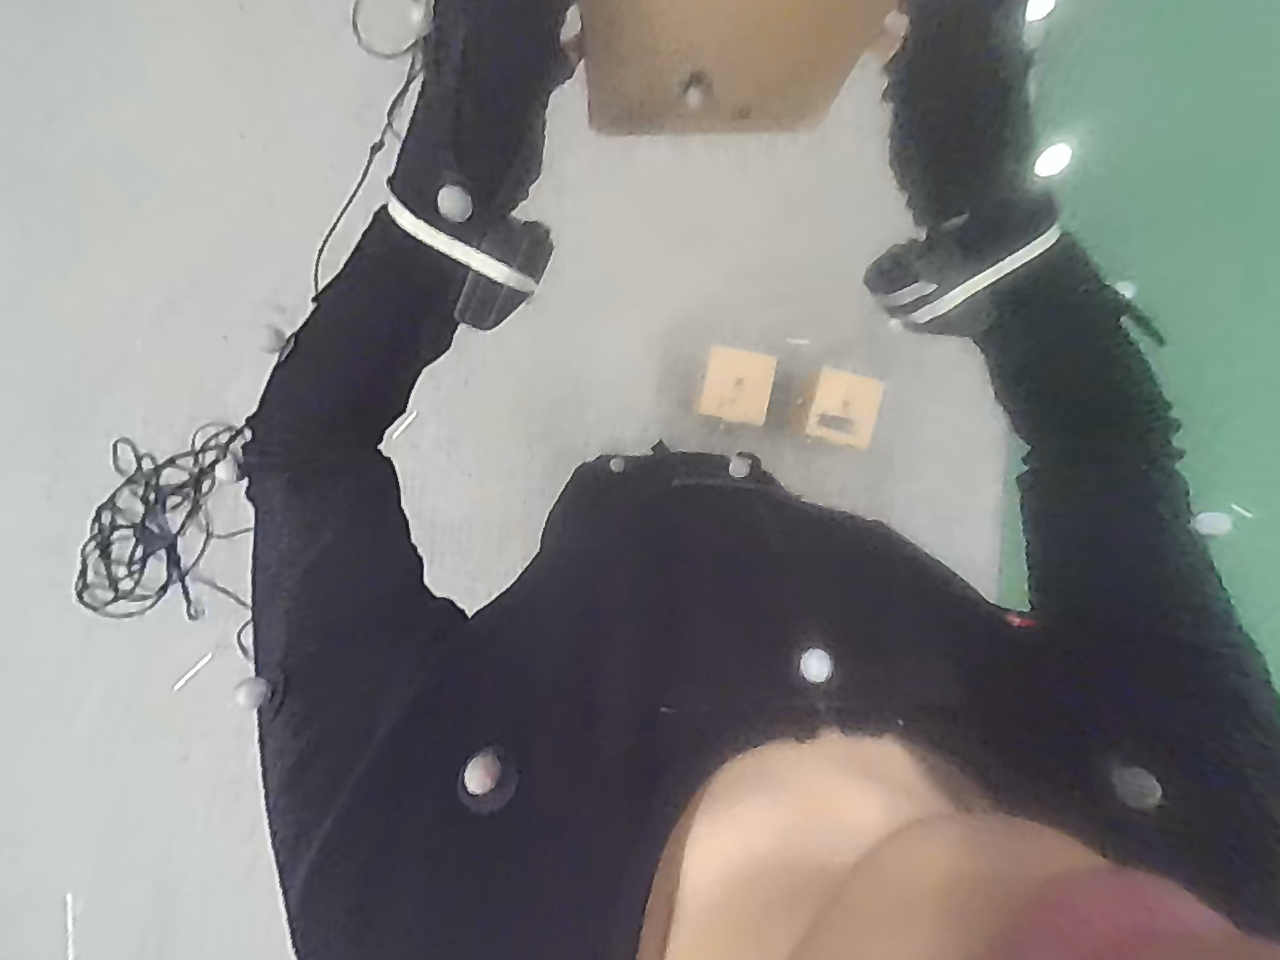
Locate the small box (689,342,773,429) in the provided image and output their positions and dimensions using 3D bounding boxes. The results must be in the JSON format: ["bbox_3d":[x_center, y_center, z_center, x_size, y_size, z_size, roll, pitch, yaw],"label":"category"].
[{"bbox_3d":[0.226,-0.236,1.391,0.168,0.176,0.179,12,92,-1],"label":"small box"}]
